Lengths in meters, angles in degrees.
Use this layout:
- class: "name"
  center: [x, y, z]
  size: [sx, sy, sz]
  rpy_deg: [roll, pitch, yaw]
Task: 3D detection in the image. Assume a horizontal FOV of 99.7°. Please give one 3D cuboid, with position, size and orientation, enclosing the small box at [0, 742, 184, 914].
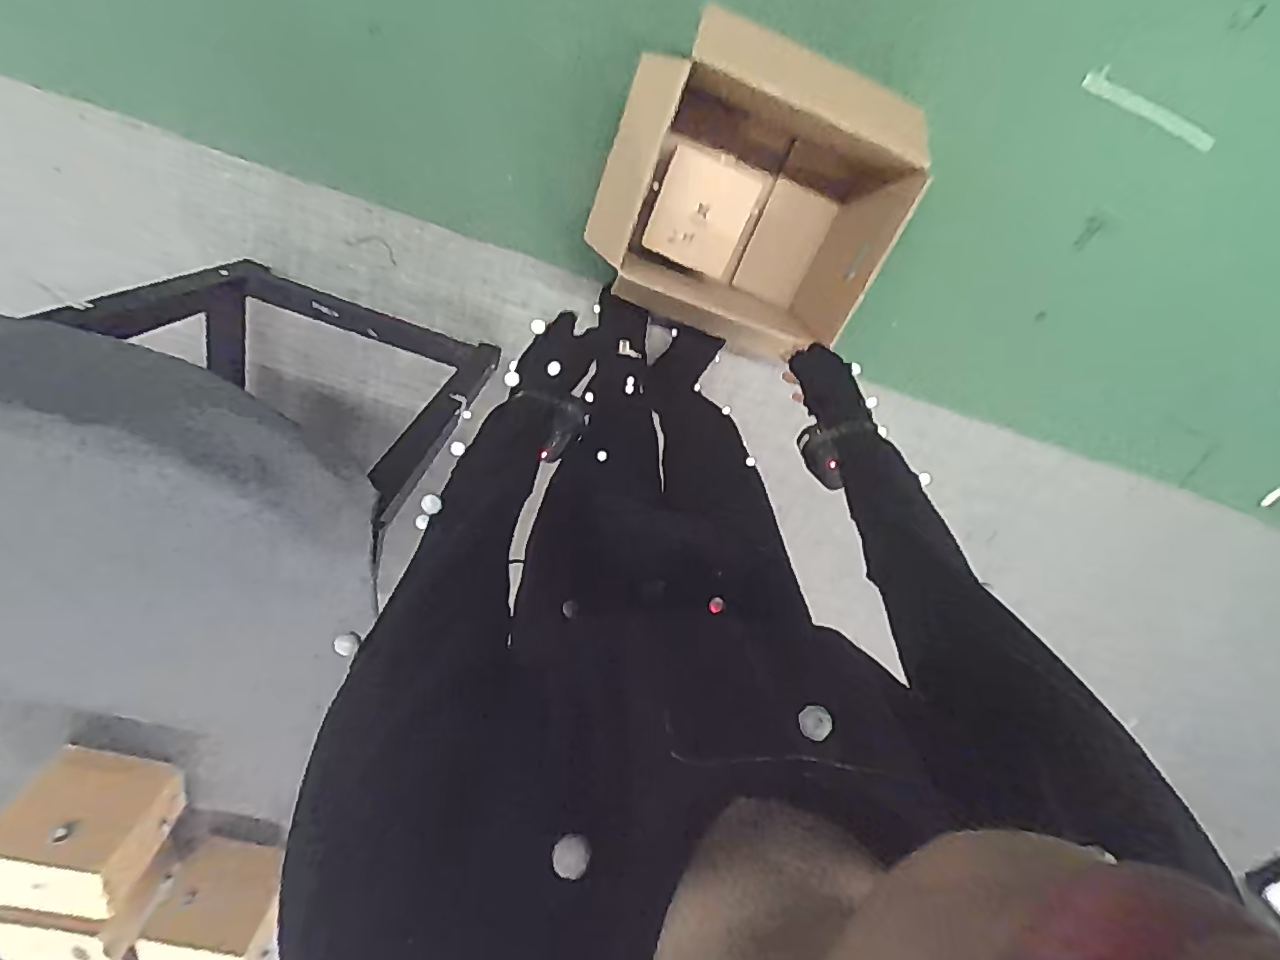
- class: "small box"
  center: [-0.891, 0.554, 0.873]
  size: [0.179, 0.176, 0.168]
  rpy_deg: [19, 119, -11]

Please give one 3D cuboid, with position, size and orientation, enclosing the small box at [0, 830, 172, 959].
- class: "small box"
  center: [-0.999, 0.739, 0.982]
  size: [0.179, 0.176, 0.168]
  rpy_deg: [17, 119, -9]
